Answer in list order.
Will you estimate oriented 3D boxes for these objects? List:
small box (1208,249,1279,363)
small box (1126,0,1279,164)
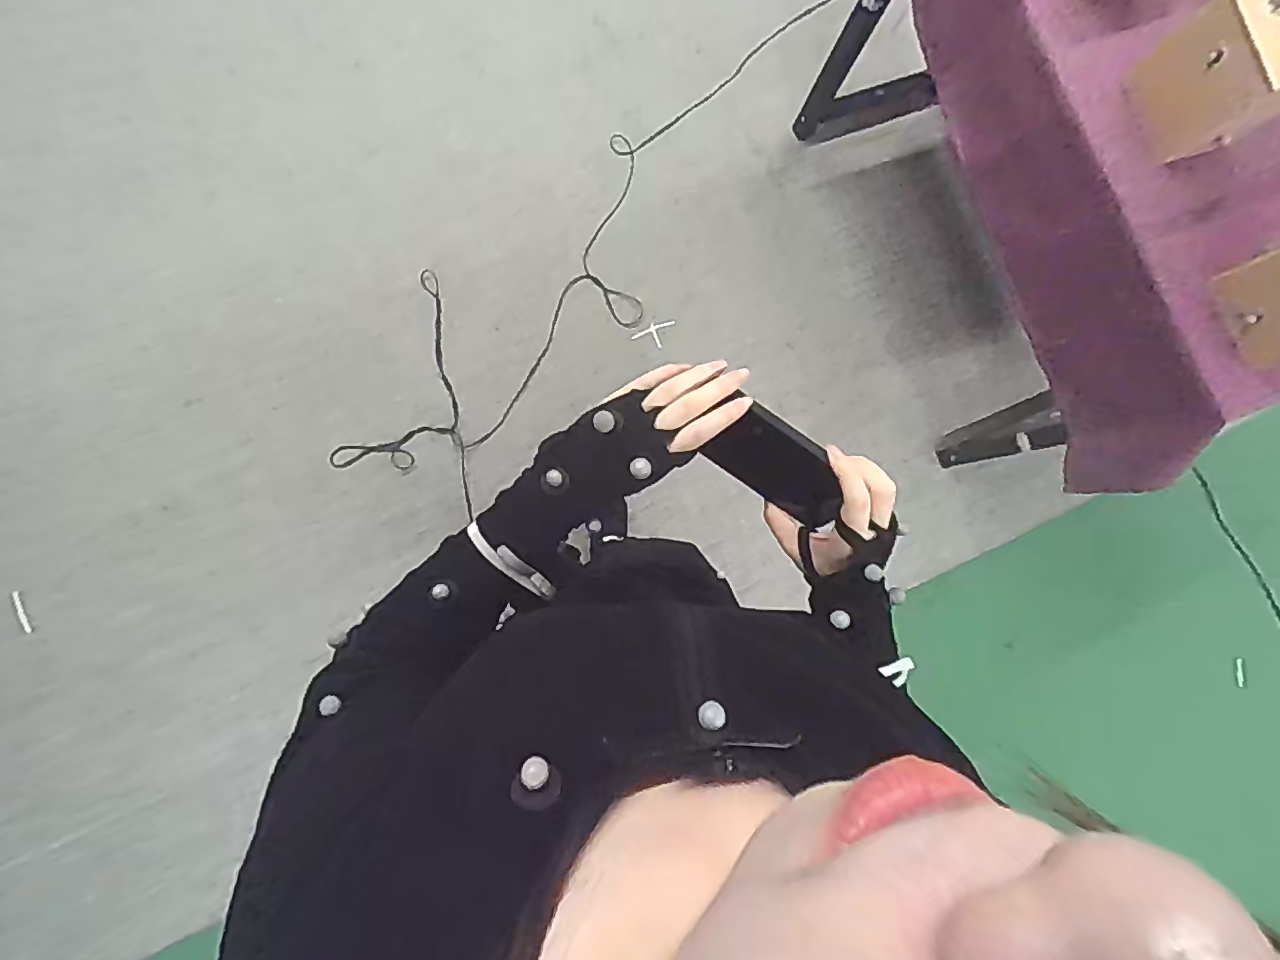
[{"bbox_3d":[1.106,-0.306,0.878,0.168,0.176,0.179,-23,87,-9],"label":"small box"},{"bbox_3d":[0.978,-0.674,0.903,0.168,0.176,0.179,-19,87,-9],"label":"small box"}]
